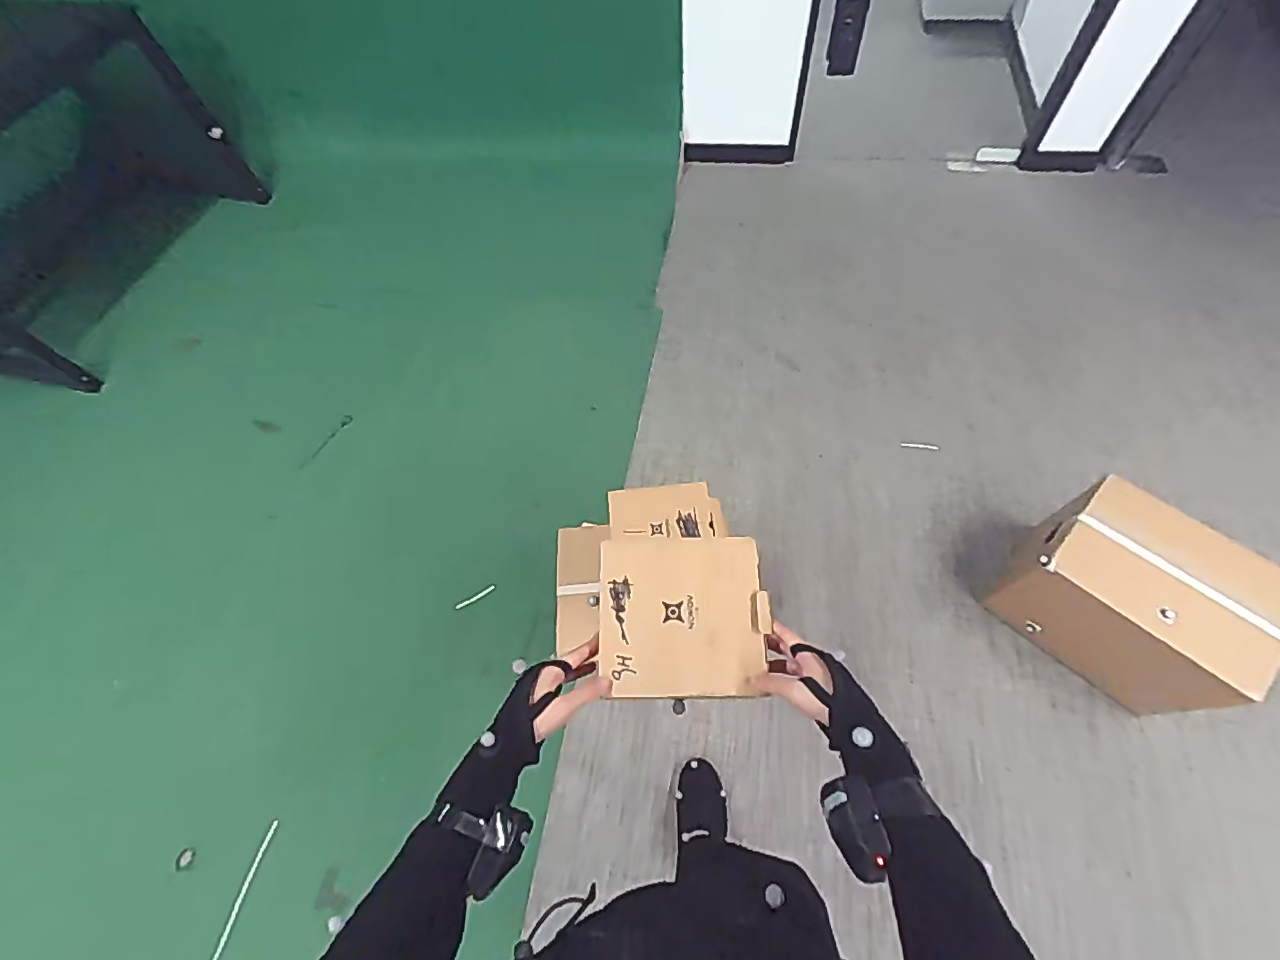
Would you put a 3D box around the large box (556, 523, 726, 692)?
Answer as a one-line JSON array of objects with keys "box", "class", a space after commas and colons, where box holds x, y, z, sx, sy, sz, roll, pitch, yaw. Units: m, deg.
[{"box": [0.026, 0.325, 1.327, 0.408, 0.320, 0.320, -6, 59, 3], "class": "large box"}]

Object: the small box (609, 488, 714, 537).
[{"box": [0.041, 0.130, 0.965, 0.179, 0.176, 0.168, -5, 60, 2], "class": "small box"}]

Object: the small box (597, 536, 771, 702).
[{"box": [0.044, 0.169, 0.639, 0.179, 0.176, 0.168, 0, 66, 0], "class": "small box"}]
